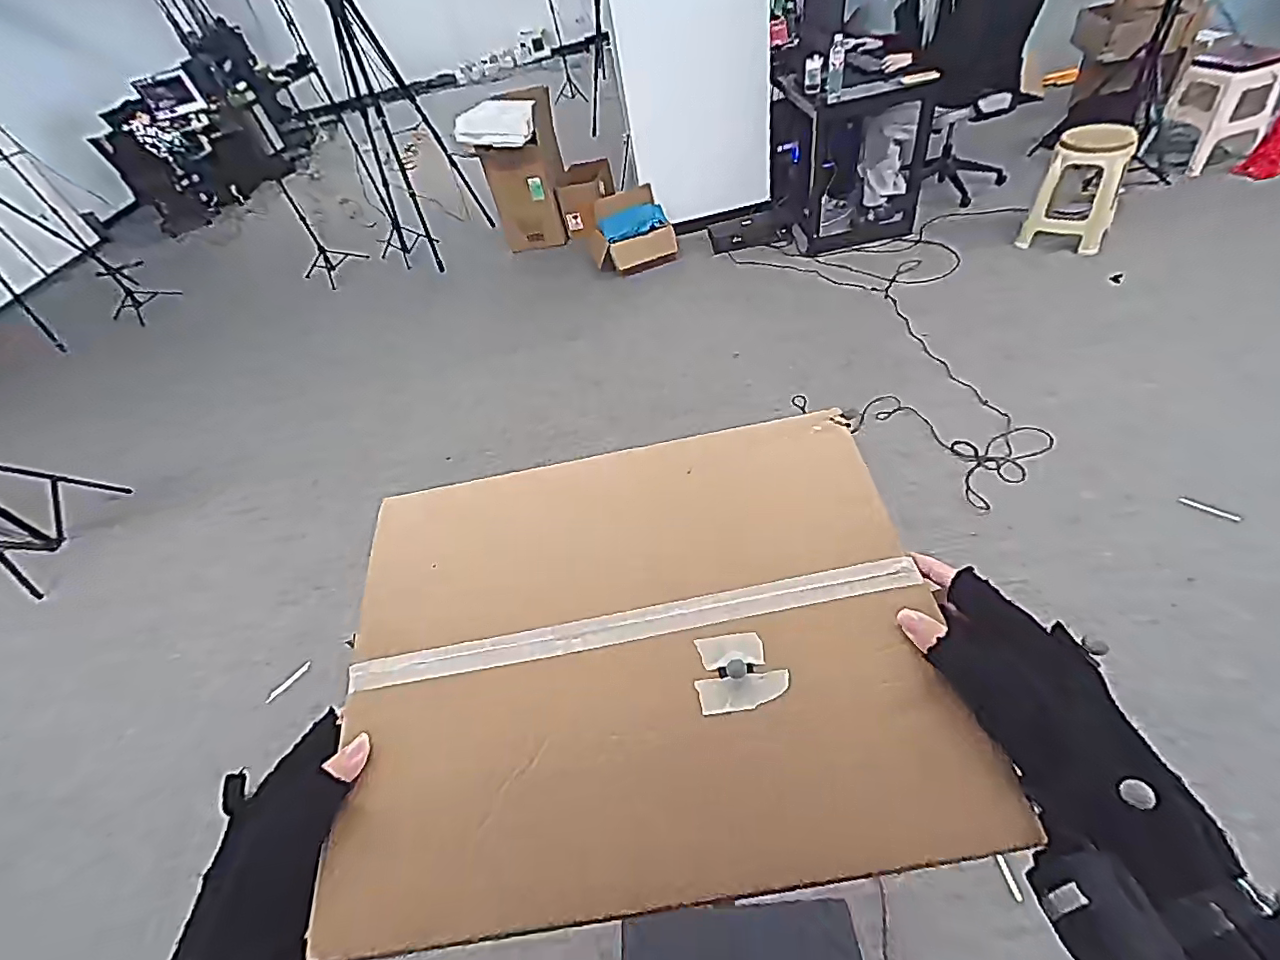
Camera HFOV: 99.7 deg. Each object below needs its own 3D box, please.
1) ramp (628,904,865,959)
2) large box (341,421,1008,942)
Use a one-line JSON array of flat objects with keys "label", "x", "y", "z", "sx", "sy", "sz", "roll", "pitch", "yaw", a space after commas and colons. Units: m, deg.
[{"label": "ramp", "x": 0.213, "y": 1.234, "z": 0.774, "sx": 0.509, "sy": 0.206, "sz": 0.991, "roll": -11, "pitch": 45, "yaw": 6}, {"label": "large box", "x": 0.015, "y": 0.193, "z": 0.517, "sx": 0.408, "sy": 0.320, "sz": 0.320, "roll": -11, "pitch": 55, "yaw": 2}]
